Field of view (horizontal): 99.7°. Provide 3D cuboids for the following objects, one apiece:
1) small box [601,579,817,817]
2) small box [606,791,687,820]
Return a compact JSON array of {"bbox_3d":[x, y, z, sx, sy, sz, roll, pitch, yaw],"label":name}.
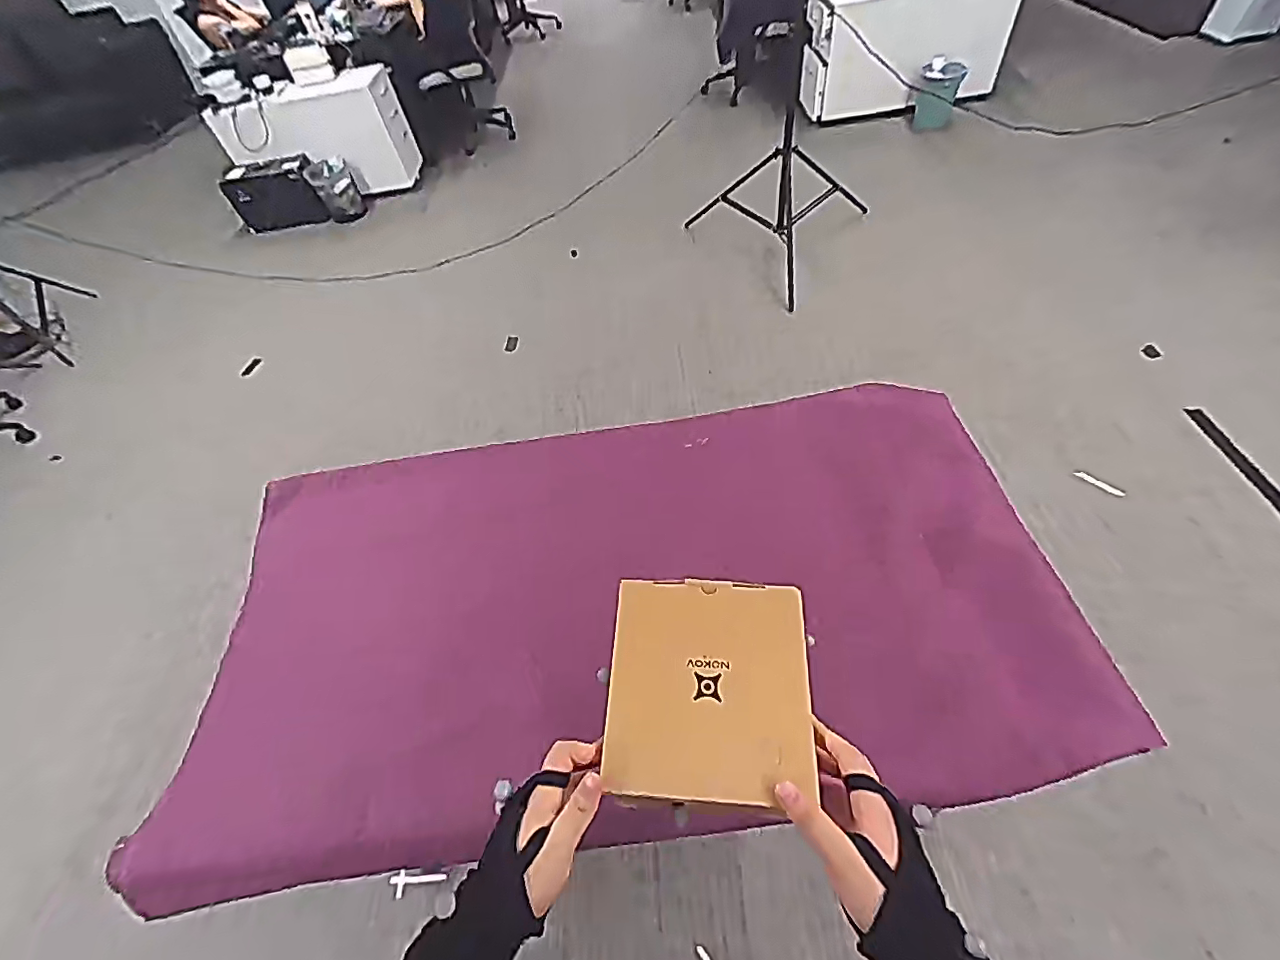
[{"bbox_3d":[0.064,0.211,0.516,0.168,0.176,0.179,1,55,6],"label":"small box"},{"bbox_3d":[0.016,0.675,1.246,0.168,0.176,0.179,-6,51,4],"label":"small box"}]
